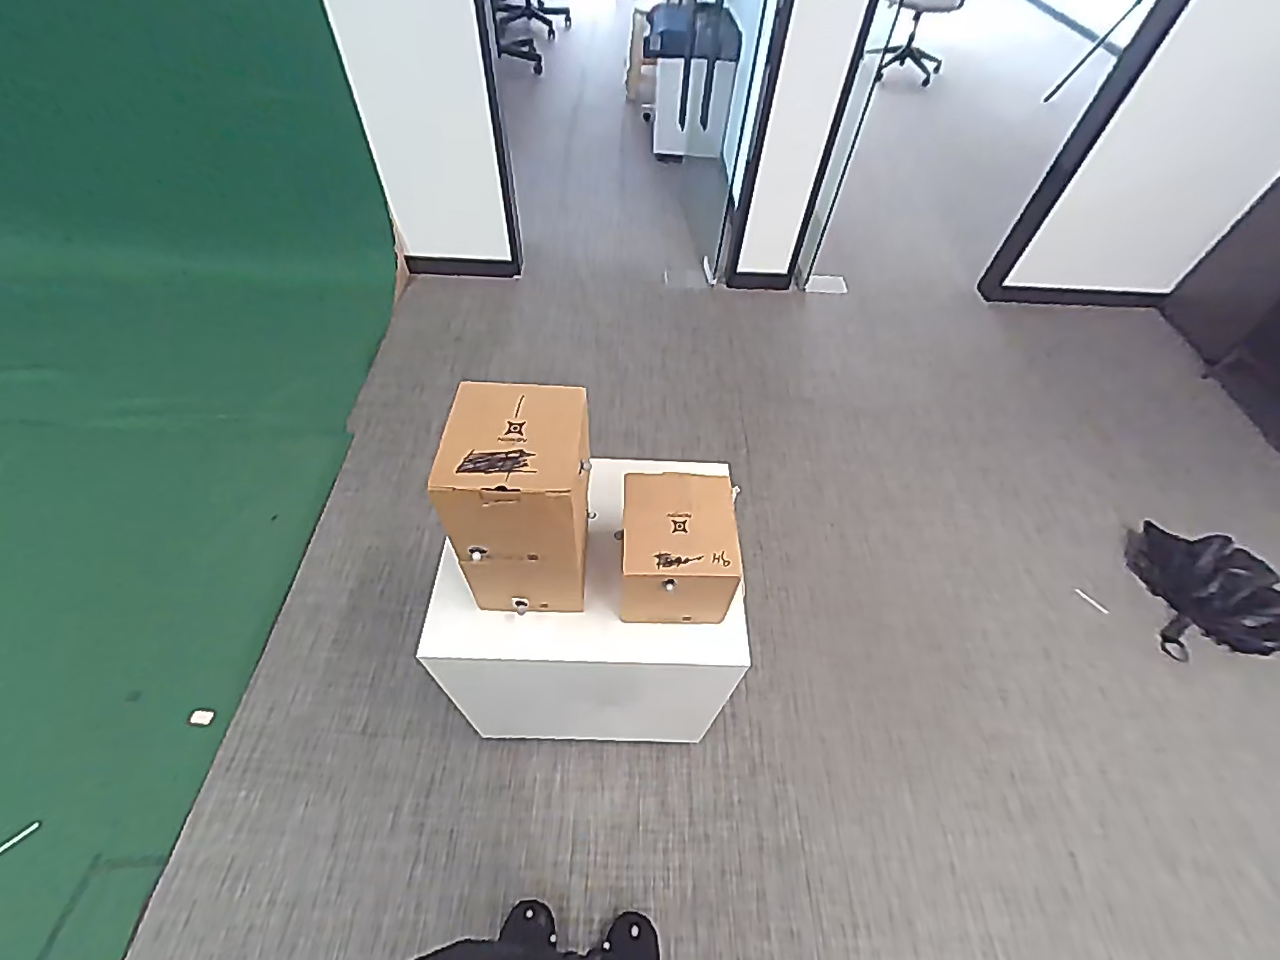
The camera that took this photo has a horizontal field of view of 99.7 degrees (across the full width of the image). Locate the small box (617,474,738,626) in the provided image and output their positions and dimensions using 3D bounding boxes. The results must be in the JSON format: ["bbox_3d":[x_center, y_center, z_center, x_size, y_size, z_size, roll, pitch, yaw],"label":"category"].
[{"bbox_3d":[0.050,0.112,0.854,0.168,0.176,0.179,2,52,-2],"label":"small box"}]

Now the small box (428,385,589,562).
[{"bbox_3d":[-0.160,-0.004,0.726,0.168,0.176,0.179,3,51,-1],"label":"small box"}]

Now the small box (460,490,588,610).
[{"bbox_3d":[-0.168,0.087,0.843,0.168,0.176,0.179,0,54,-3],"label":"small box"}]
